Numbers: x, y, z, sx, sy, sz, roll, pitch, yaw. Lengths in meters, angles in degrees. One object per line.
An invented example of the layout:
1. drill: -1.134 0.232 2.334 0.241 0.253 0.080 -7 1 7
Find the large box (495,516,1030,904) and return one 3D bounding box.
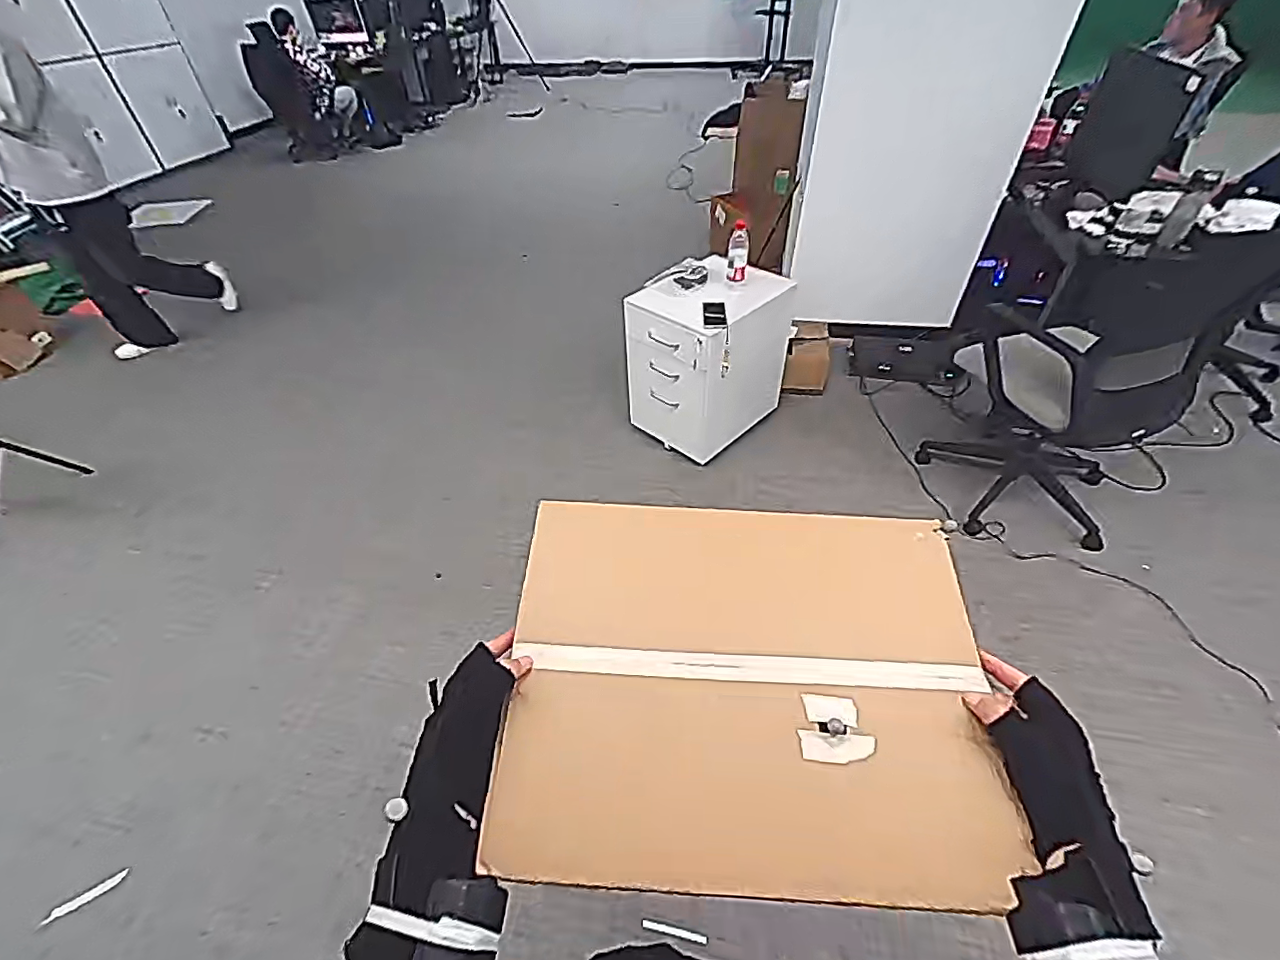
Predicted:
1. large box: 0.091 0.254 0.600 0.408 0.320 0.320 3 58 1
